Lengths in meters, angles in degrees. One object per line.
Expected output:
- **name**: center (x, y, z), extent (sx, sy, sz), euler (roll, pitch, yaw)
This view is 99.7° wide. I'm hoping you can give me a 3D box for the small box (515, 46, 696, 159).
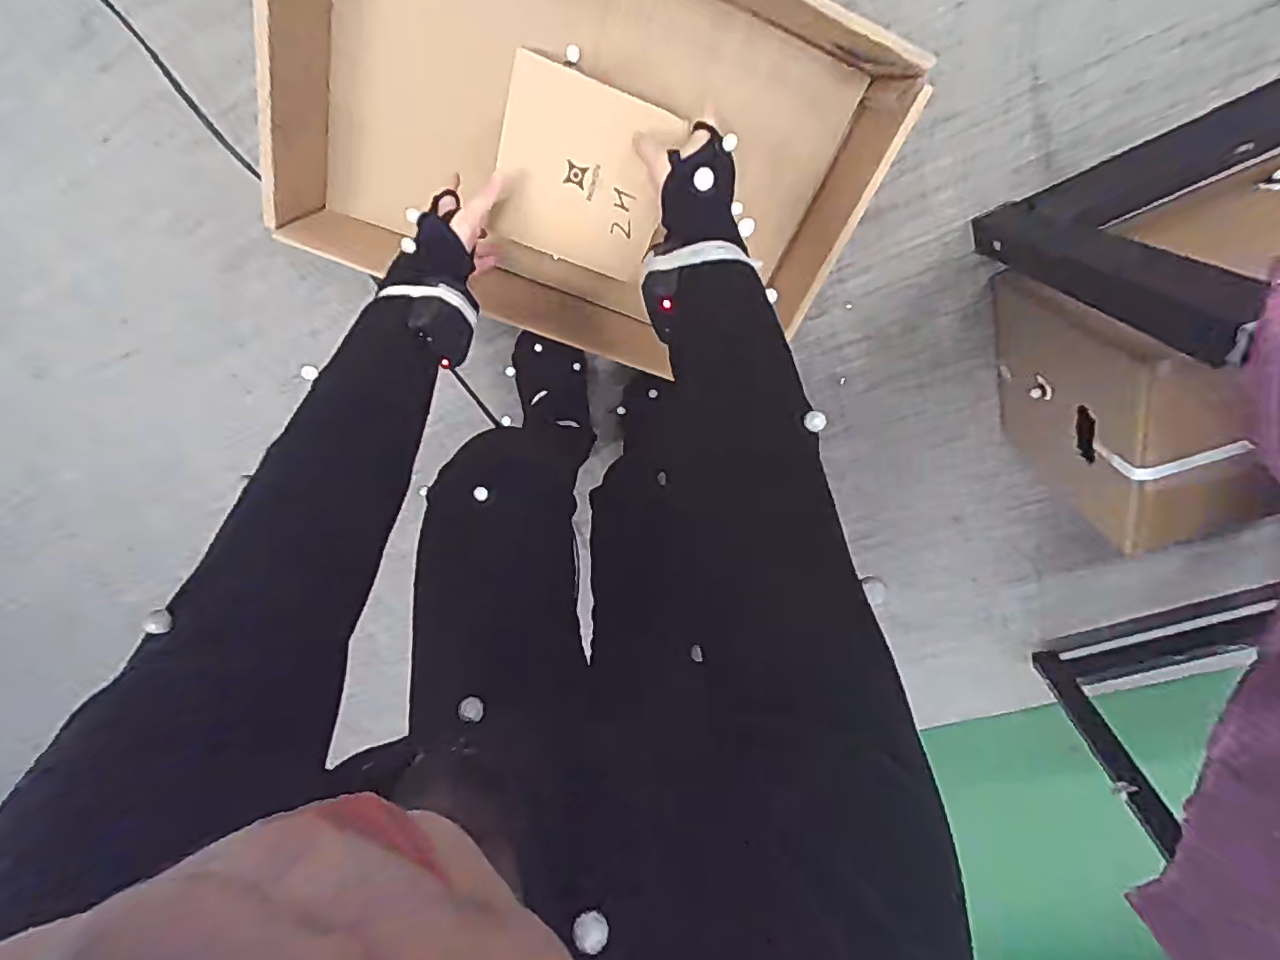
- **small box**: center (-0.051, -0.352, 0.610), extent (0.179, 0.176, 0.168), euler (17, 127, -11)
